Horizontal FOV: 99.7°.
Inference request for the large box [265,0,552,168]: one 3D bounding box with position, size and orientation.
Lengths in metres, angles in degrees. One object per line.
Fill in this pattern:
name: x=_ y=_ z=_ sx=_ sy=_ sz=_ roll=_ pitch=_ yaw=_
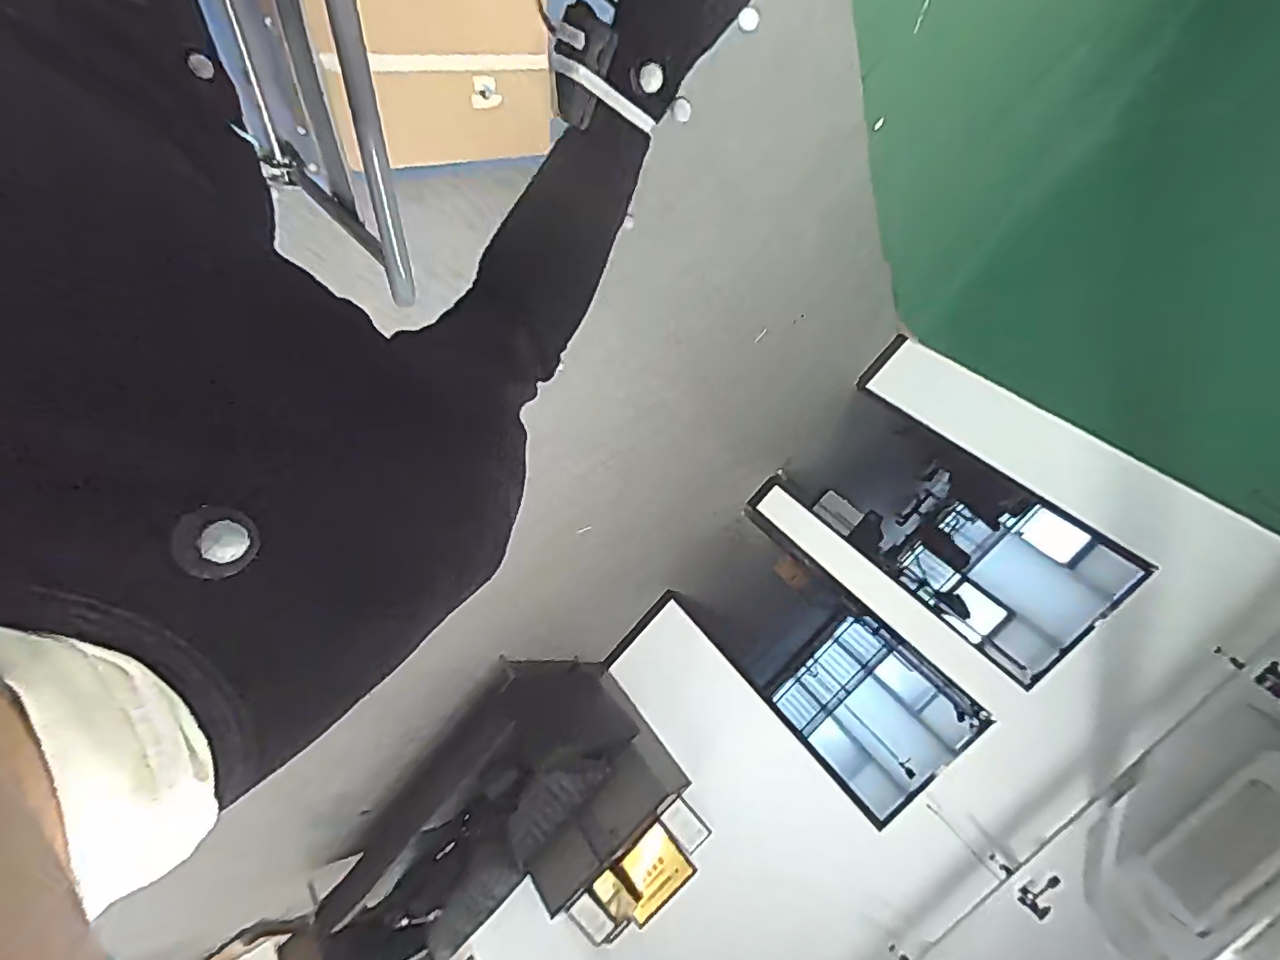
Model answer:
large box: x=-0.415 y=-0.803 z=0.985 sx=0.408 sy=0.320 sz=0.320 roll=-26 pitch=145 yaw=-30
